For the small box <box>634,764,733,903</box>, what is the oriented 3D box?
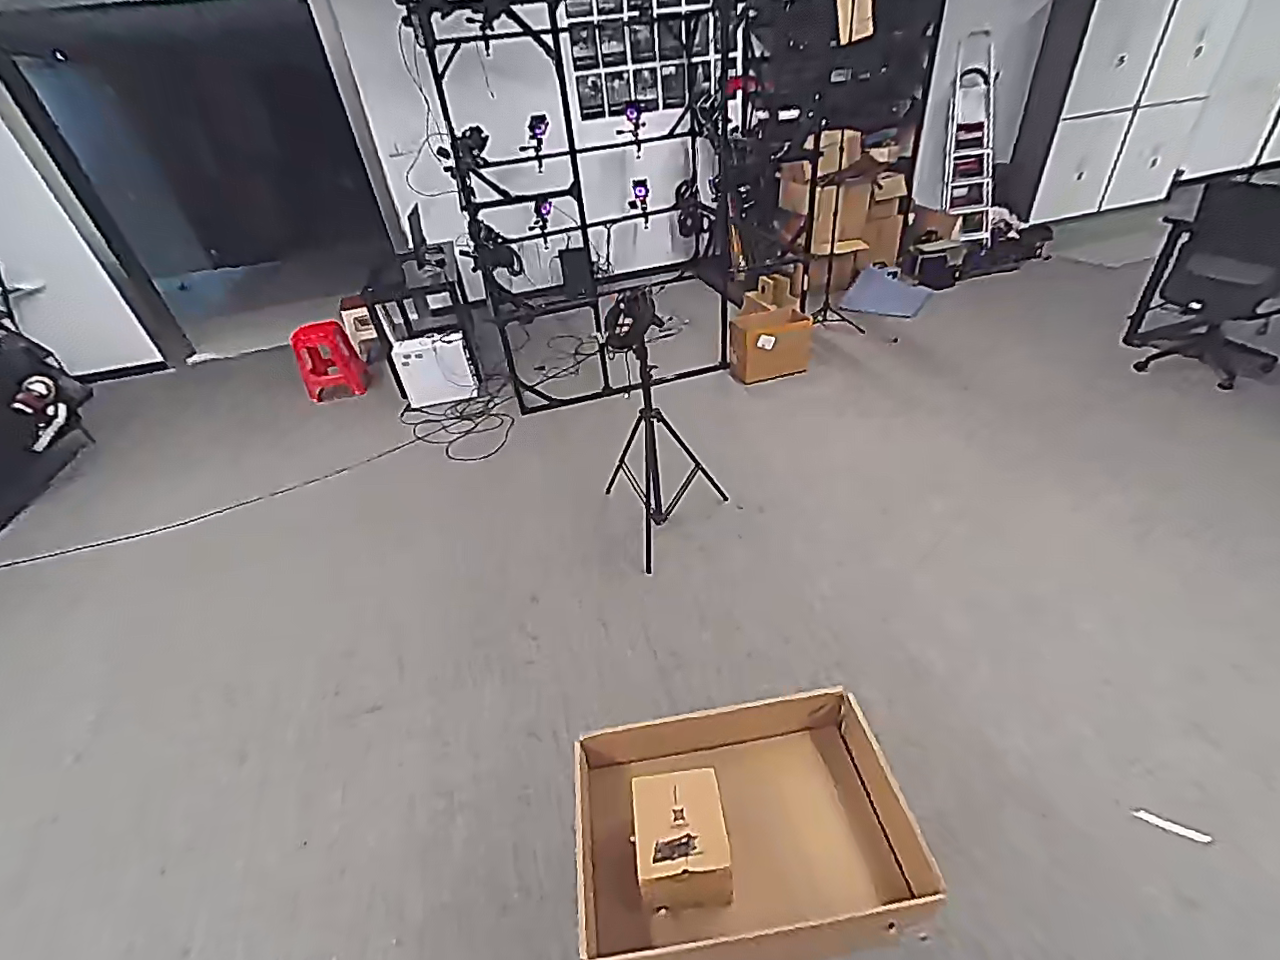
[{"bbox_3d":[0.082,0.682,1.039,0.168,0.176,0.179,-7,35,0],"label":"small box"}]
